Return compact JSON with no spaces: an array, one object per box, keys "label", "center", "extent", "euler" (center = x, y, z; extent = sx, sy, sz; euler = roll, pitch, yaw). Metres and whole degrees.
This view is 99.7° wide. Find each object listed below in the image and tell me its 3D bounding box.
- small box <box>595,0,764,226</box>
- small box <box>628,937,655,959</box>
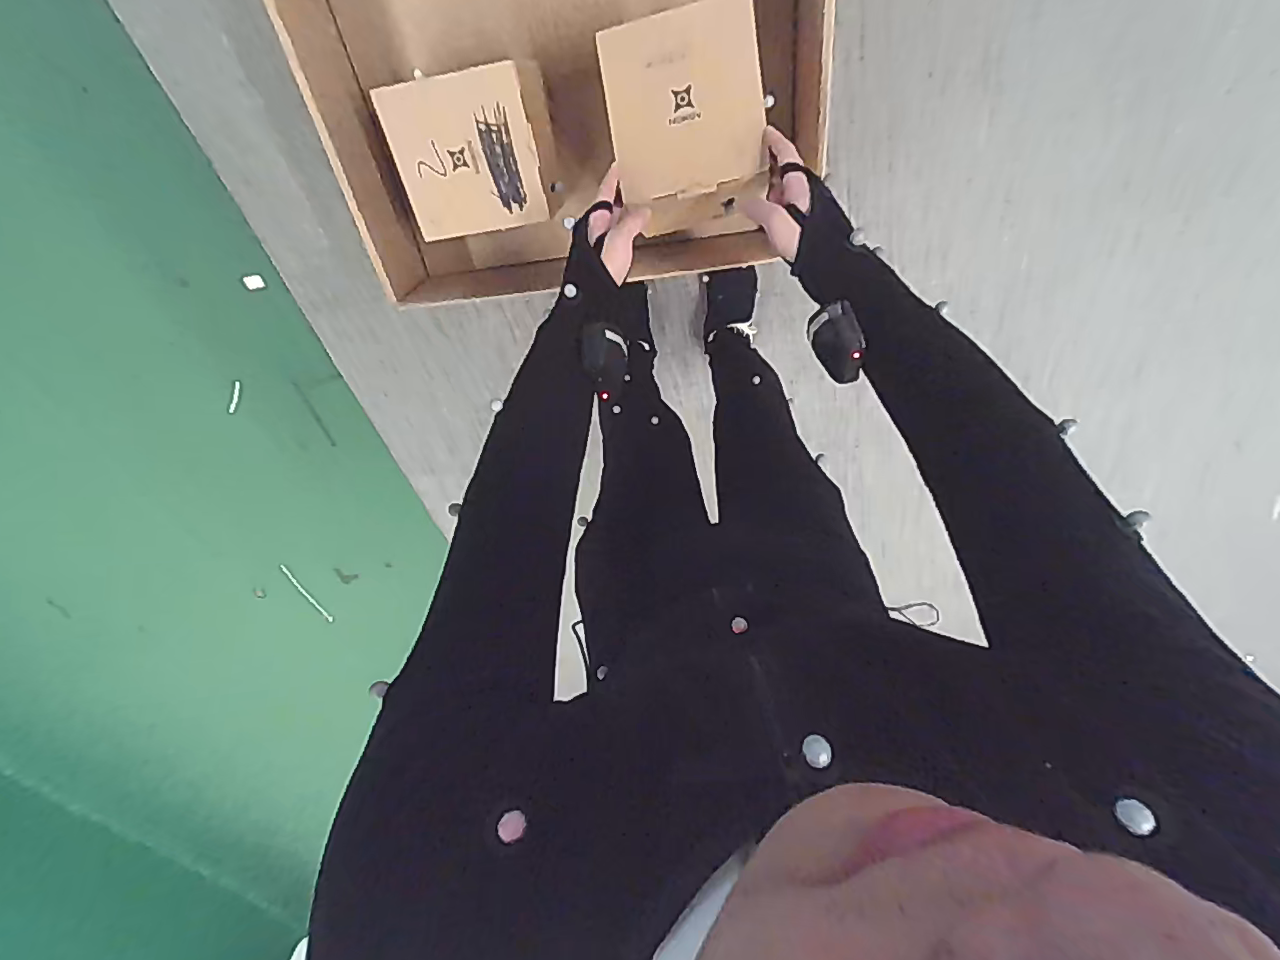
[{"label":"small box","center":[0.058,-0.422,0.654],"extent":[0.168,0.176,0.179],"euler":[-7,102,12]},{"label":"small box","center":[-0.040,1.892,2.082],"extent":[0.168,0.176,0.179],"euler":[-14,124,11]}]
